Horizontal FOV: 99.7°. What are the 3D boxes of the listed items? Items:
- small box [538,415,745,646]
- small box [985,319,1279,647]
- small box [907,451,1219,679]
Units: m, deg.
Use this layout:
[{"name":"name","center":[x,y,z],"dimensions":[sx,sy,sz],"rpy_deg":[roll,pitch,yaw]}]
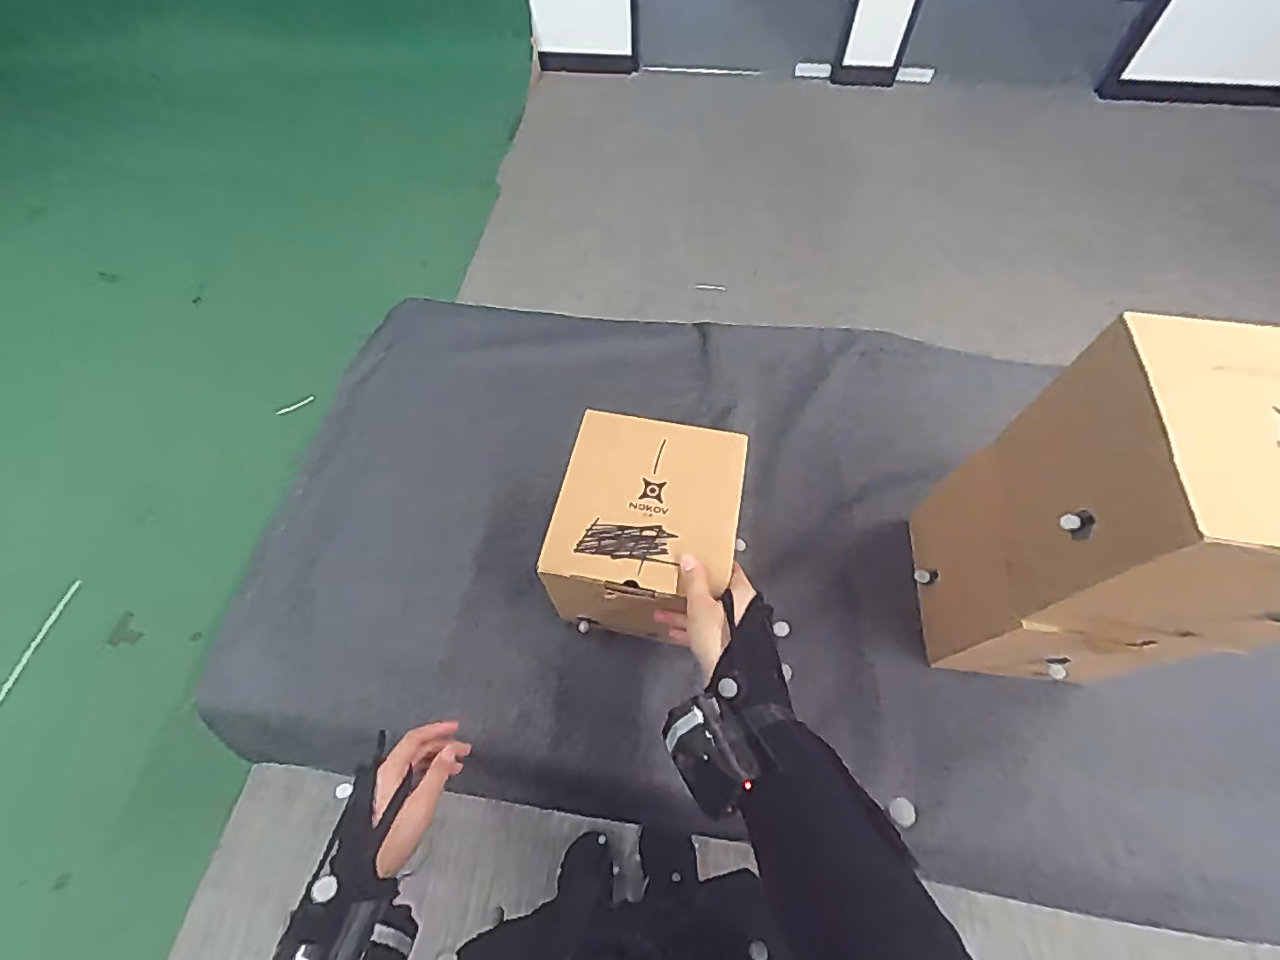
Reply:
[{"name":"small box","center":[0.008,0.060,0.568],"dimensions":[0.168,0.176,0.179],"rpy_deg":[10,60,6]},{"name":"small box","center":[0.393,0.011,0.401],"dimensions":[0.168,0.176,0.179],"rpy_deg":[8,59,5]},{"name":"small box","center":[0.391,0.093,0.543],"dimensions":[0.168,0.176,0.179],"rpy_deg":[5,61,4]}]
